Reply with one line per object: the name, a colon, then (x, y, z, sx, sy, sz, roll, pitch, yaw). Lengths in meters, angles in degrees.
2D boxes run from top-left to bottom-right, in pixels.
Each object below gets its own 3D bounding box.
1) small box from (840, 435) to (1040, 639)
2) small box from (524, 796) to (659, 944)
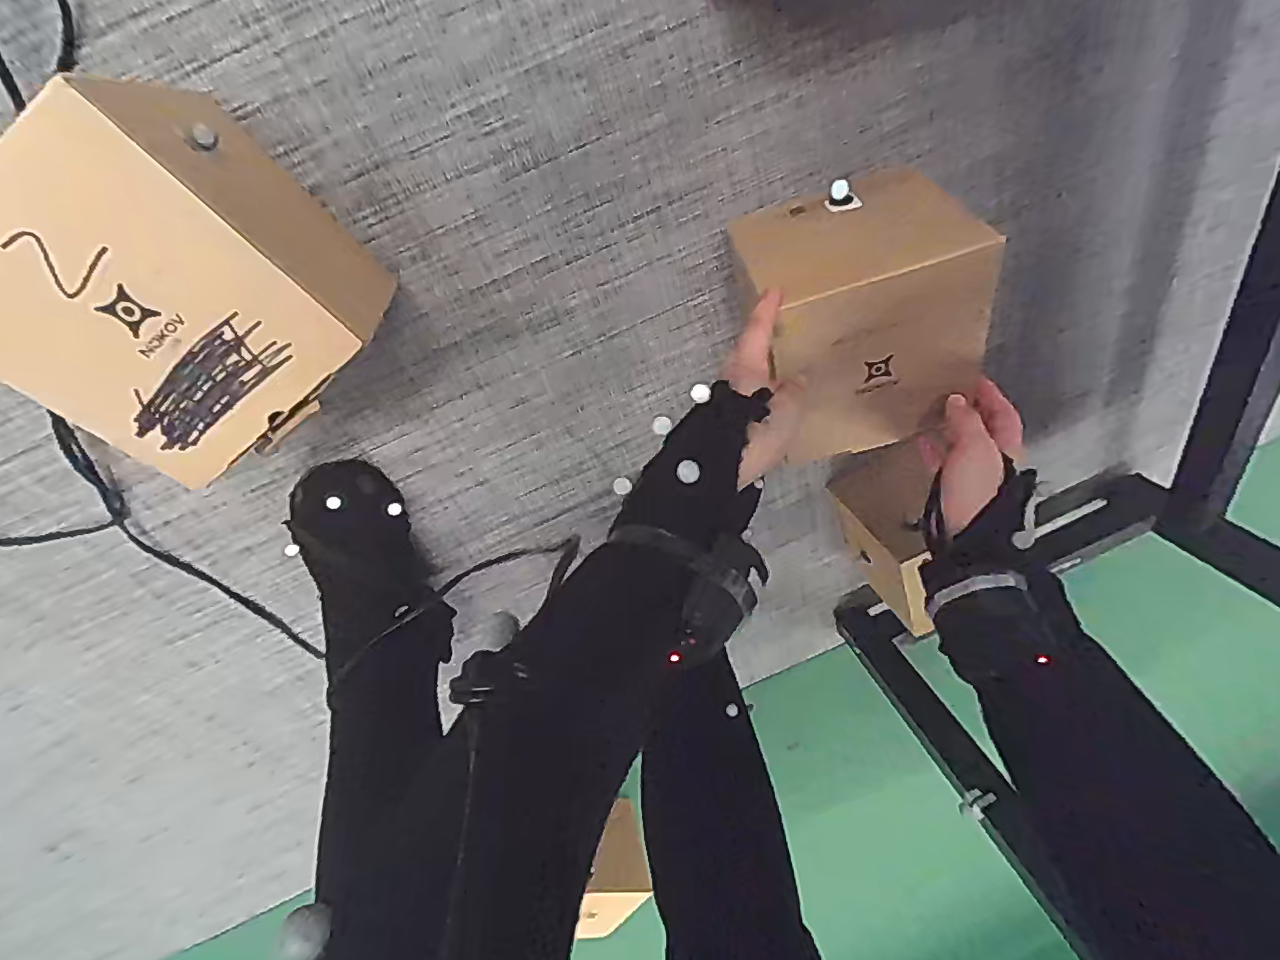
small box: (0.391, 0.071, 0.728, 0.179, 0.176, 0.168, -29, 126, 3)
small box: (-0.097, 0.713, 0.997, 0.179, 0.176, 0.168, 24, 112, -28)
